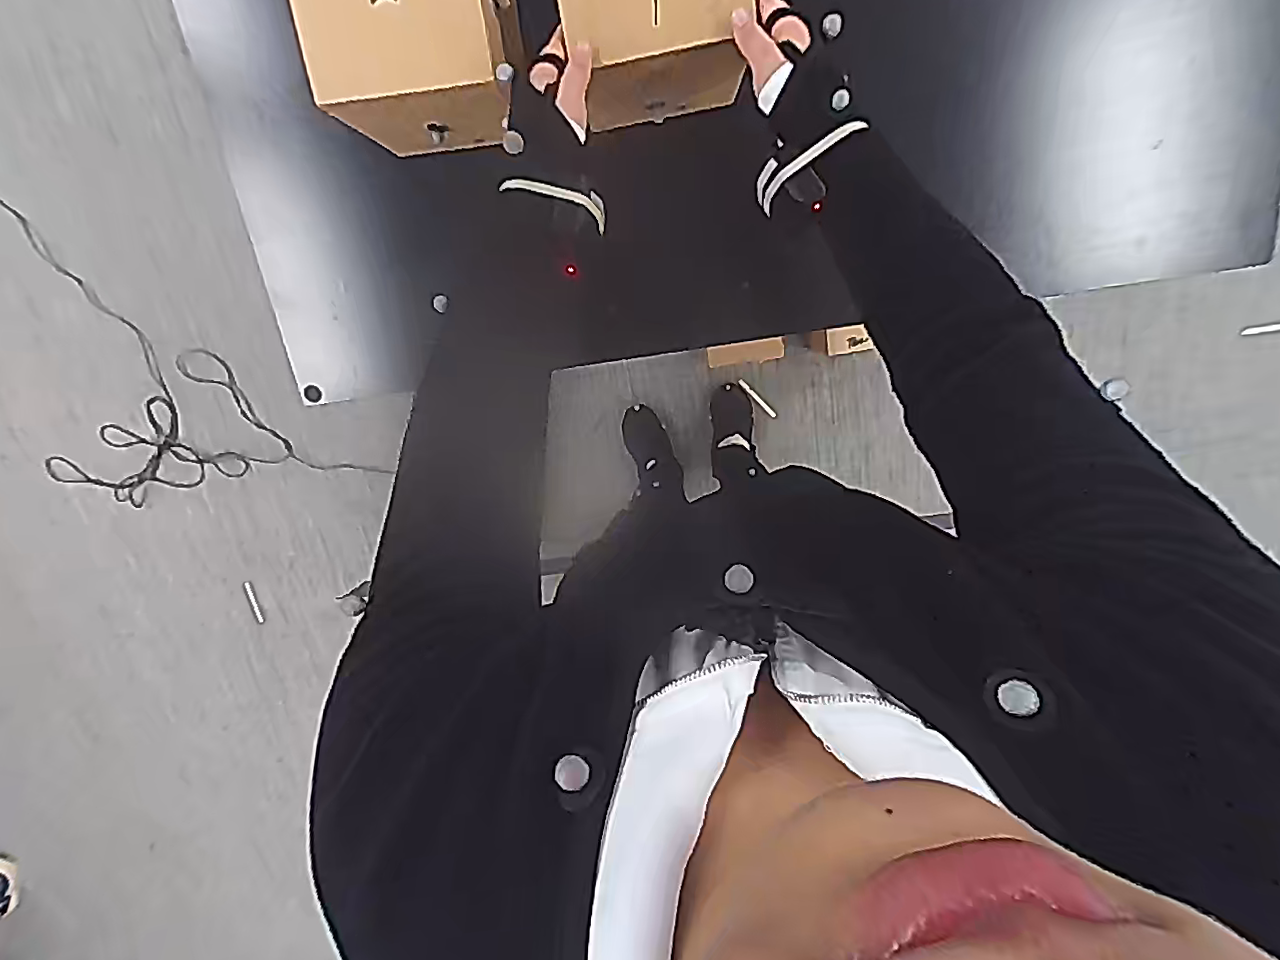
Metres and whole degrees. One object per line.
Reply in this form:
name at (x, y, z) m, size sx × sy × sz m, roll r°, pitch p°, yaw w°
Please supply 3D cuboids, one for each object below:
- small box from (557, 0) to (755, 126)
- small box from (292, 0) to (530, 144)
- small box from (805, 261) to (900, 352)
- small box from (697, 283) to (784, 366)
small box at (0.007, -0.475, 0.515) m, size 0.168 × 0.176 × 0.179 m, roll -8°, pitch 107°, yaw 5°
small box at (-0.215, -0.451, 0.530) m, size 0.168 × 0.176 × 0.179 m, roll -5°, pitch 107°, yaw 3°
small box at (0.496, -0.405, 1.278) m, size 0.168 × 0.176 × 0.179 m, roll -8°, pitch 106°, yaw 6°
small box at (0.236, -0.375, 1.300) m, size 0.179 × 0.176 × 0.168 m, roll -8°, pitch 106°, yaw 6°
